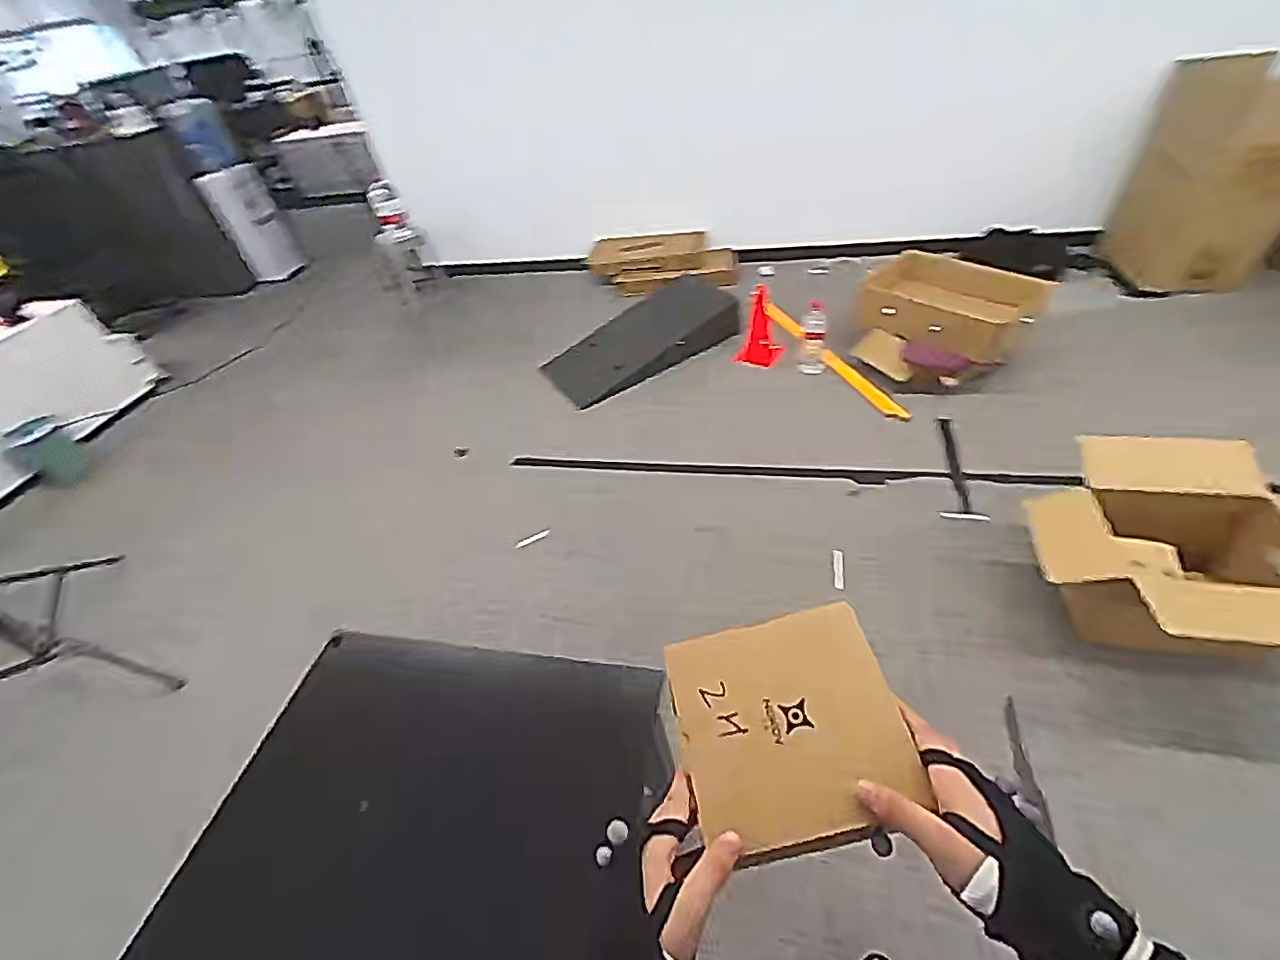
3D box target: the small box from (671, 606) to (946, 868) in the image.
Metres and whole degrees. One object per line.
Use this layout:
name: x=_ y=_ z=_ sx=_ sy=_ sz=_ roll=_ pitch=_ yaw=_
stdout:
small box: x=0.138 y=0.241 z=0.498 sx=0.179 sy=0.176 sz=0.168 roll=-15 pitch=51 yaw=4
